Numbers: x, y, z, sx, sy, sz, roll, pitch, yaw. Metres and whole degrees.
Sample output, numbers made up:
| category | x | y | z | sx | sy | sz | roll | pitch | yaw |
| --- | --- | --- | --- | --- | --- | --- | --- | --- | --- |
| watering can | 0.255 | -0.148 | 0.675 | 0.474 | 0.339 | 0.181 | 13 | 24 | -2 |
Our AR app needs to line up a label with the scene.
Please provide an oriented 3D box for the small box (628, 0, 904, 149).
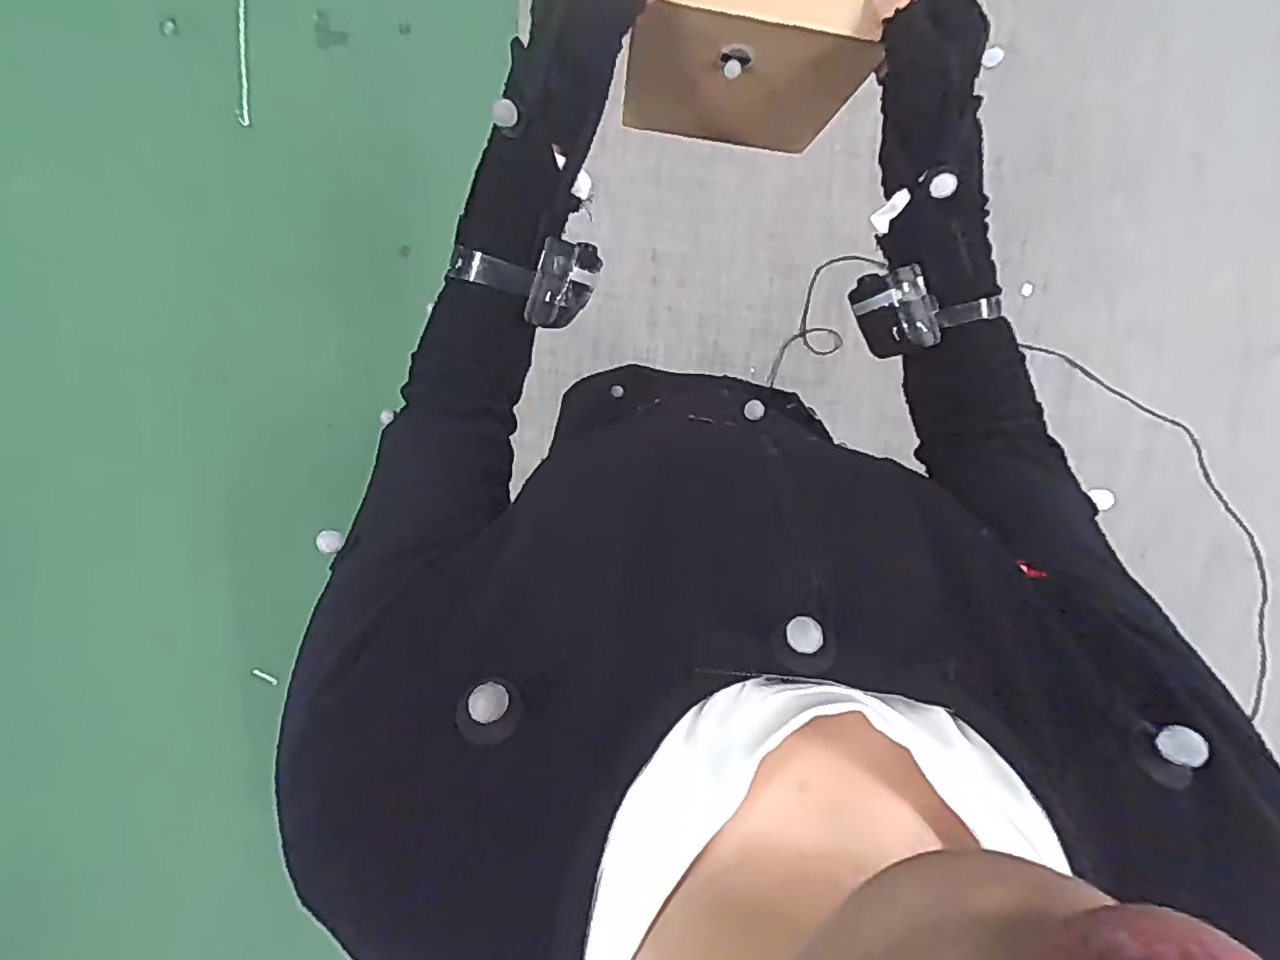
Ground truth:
| category | x | y | z | sx | sy | sz | roll | pitch | yaw |
| --- | --- | --- | --- | --- | --- | --- | --- | --- | --- |
| small box | 0.087 | -0.387 | 0.418 | 0.179 | 0.176 | 0.168 | 5 | 99 | -7 |
